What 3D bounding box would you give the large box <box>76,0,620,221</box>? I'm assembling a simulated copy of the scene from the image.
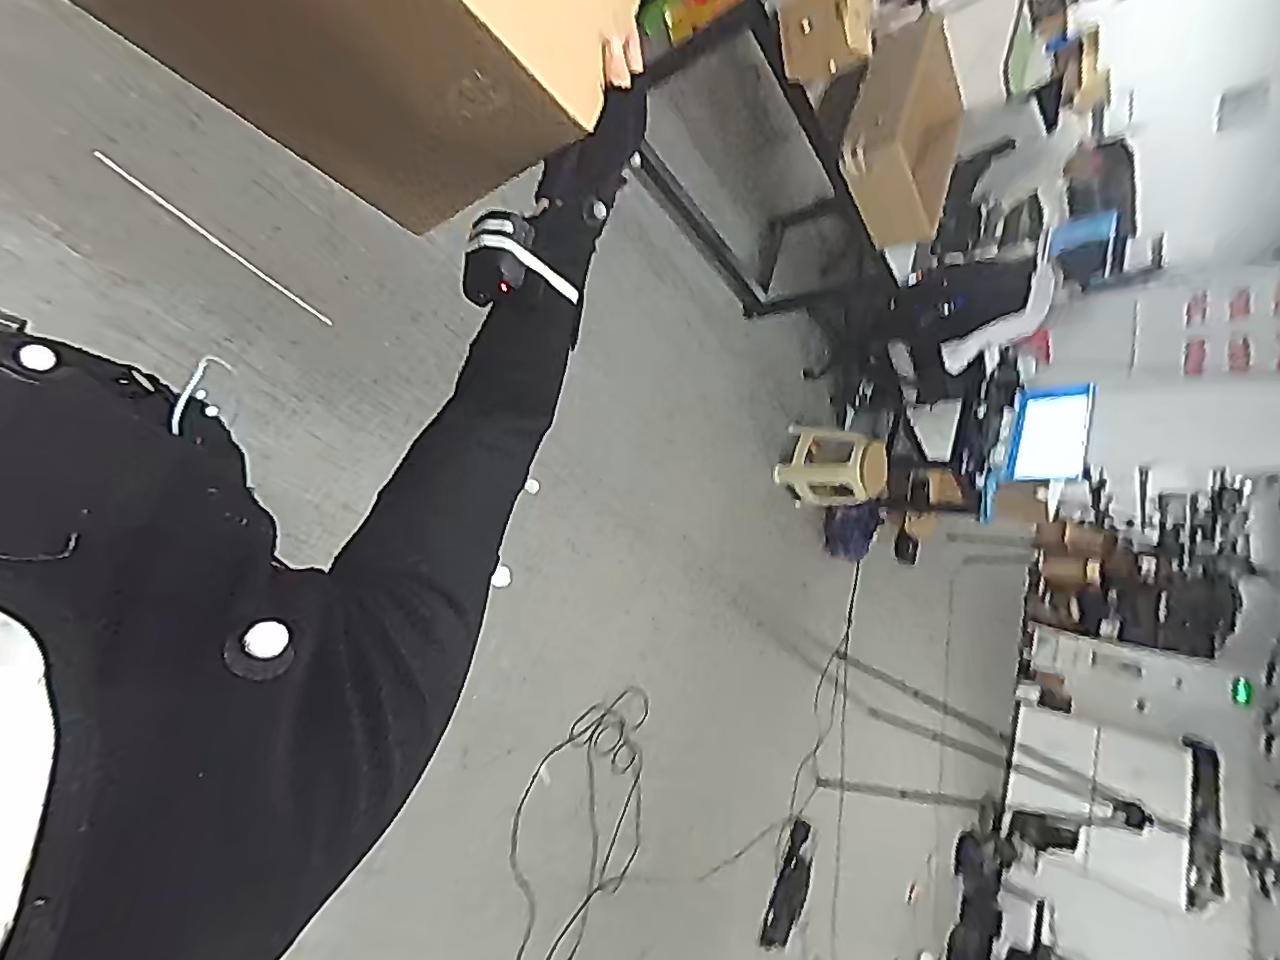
[{"bbox_3d":[-0.248,-0.491,0.420,0.408,0.320,0.320,25,76,-44],"label":"large box"}]
